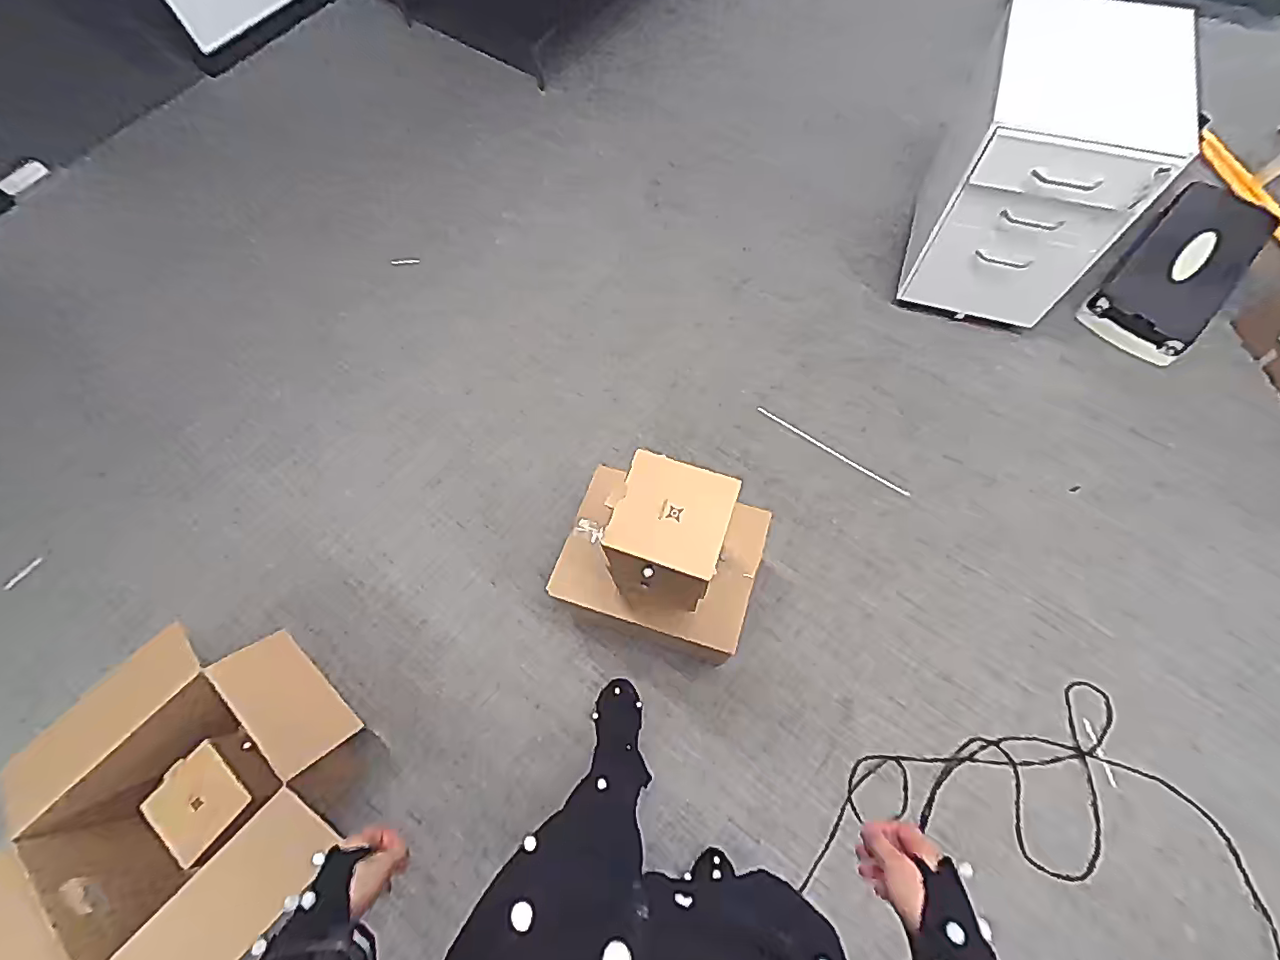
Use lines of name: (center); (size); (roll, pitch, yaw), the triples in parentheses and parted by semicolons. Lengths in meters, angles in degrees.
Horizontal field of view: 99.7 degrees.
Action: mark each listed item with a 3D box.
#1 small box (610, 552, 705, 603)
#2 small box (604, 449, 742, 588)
small box: (0.057, 0.130, 1.056); (0.179, 0.176, 0.168); (16, 70, 10)
small box: (0.058, 0.073, 0.904); (0.179, 0.176, 0.168); (16, 71, 11)
